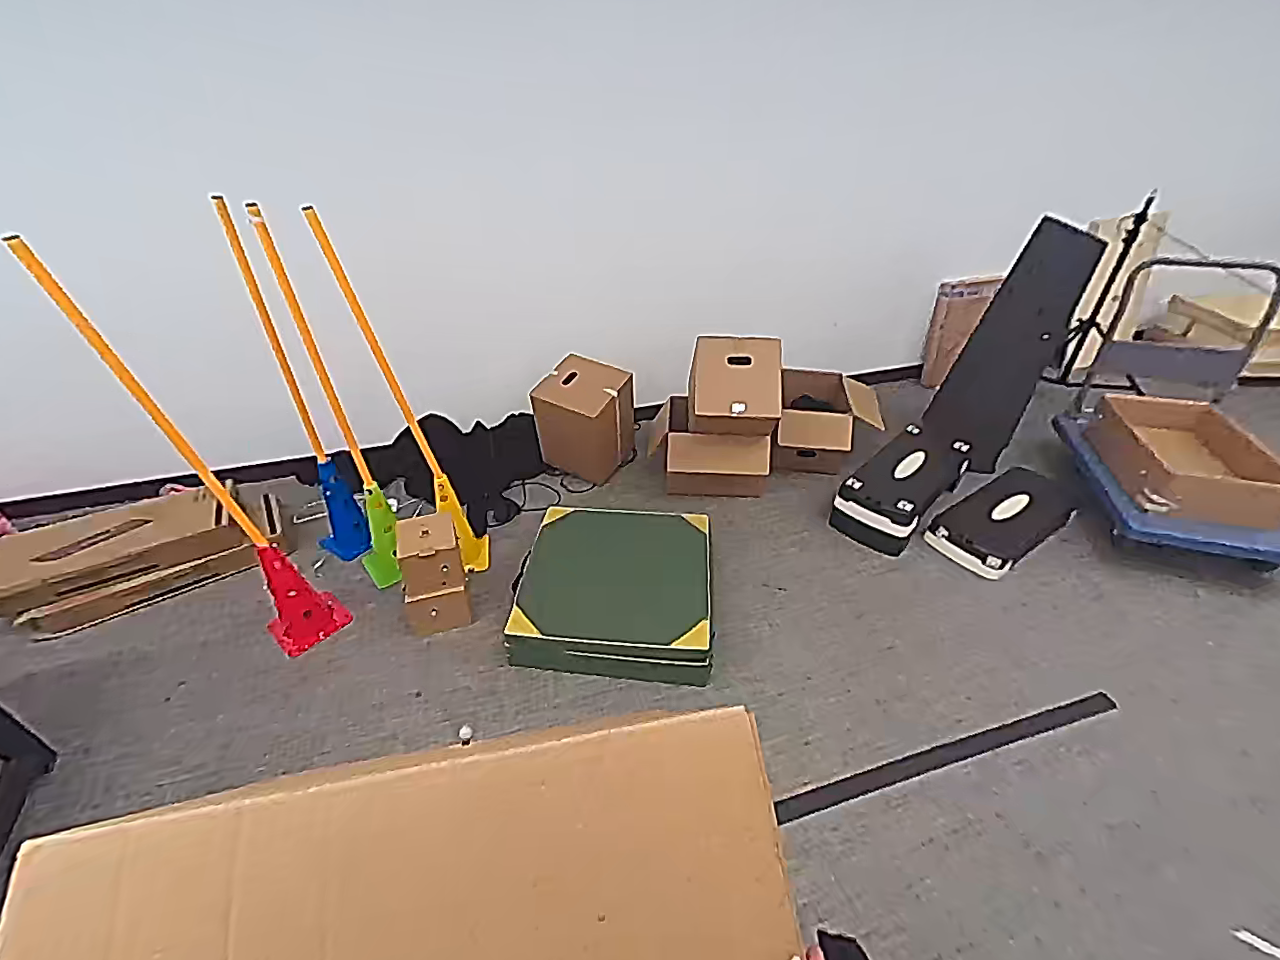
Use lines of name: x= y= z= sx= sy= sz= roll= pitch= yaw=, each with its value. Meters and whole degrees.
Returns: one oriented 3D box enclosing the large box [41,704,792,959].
large box: x=-0.120 y=0.376 z=0.421 sx=0.408 sy=0.320 sz=0.320 roll=-6 pitch=68 yaw=-12
